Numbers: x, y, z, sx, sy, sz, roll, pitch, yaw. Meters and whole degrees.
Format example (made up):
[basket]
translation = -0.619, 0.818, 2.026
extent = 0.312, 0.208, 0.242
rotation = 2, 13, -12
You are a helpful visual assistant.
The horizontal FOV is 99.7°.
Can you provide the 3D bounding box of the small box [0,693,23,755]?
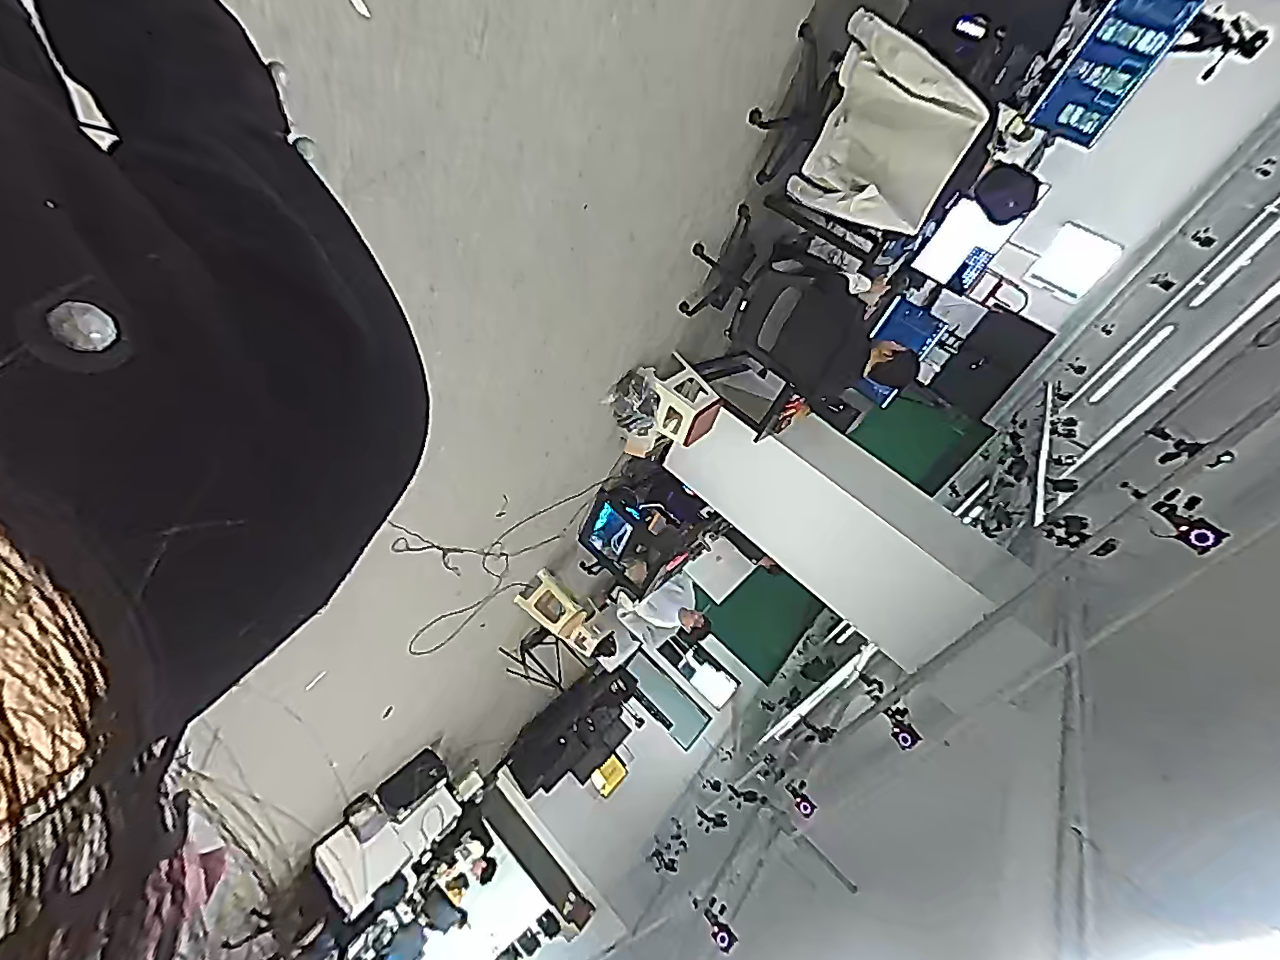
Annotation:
[small box]
translation = -1.857, 0.676, 1.476
extent = 0.179, 0.176, 0.168
rotation = -25, 149, -50
